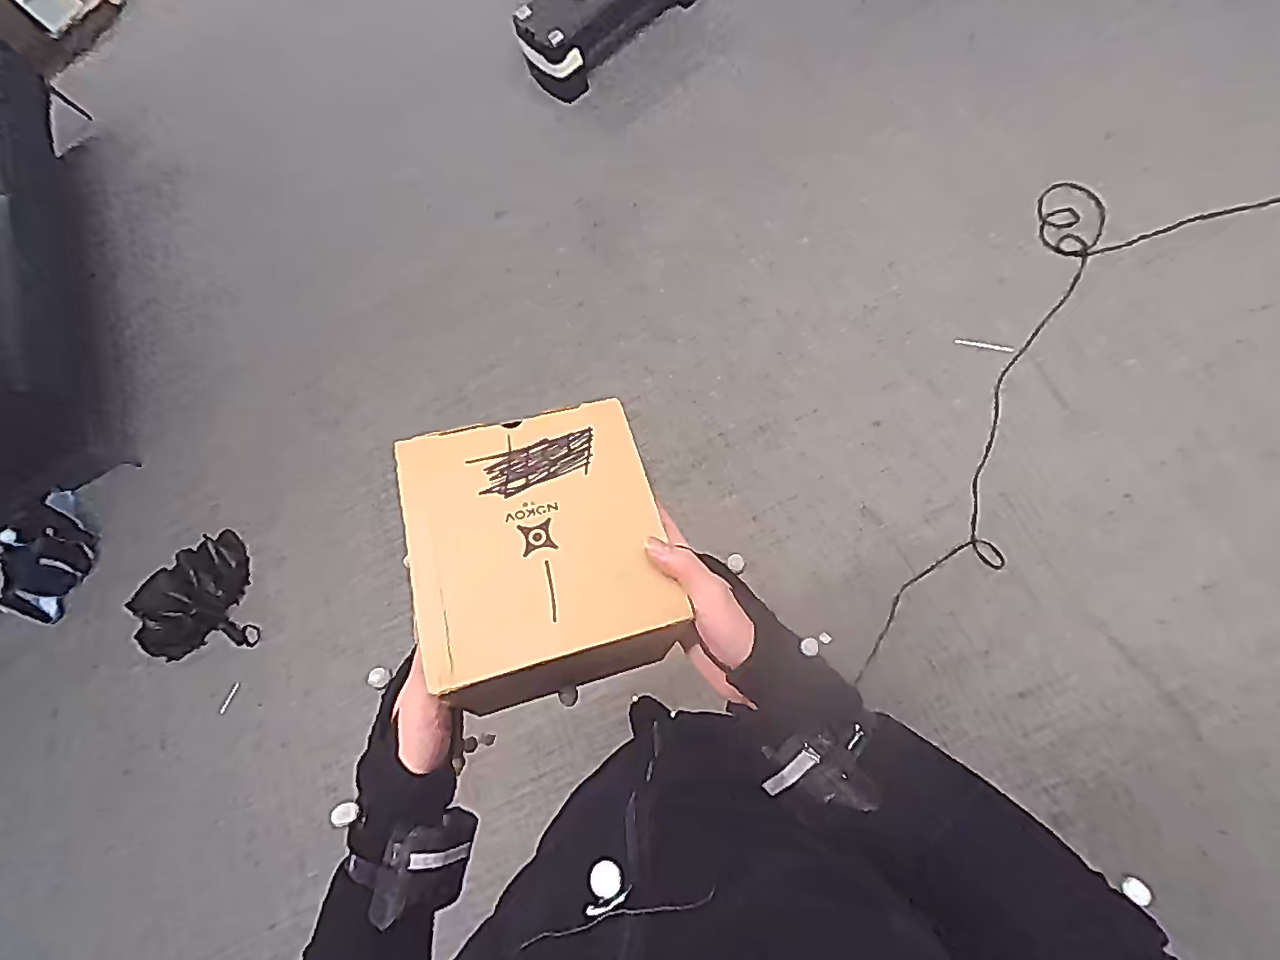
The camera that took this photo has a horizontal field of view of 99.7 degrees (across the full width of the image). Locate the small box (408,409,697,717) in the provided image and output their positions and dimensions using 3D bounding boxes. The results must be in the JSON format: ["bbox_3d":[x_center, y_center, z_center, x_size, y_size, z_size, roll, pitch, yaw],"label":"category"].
[{"bbox_3d":[-0.072,0.073,0.433,0.168,0.176,0.179,-13,65,-12],"label":"small box"}]
